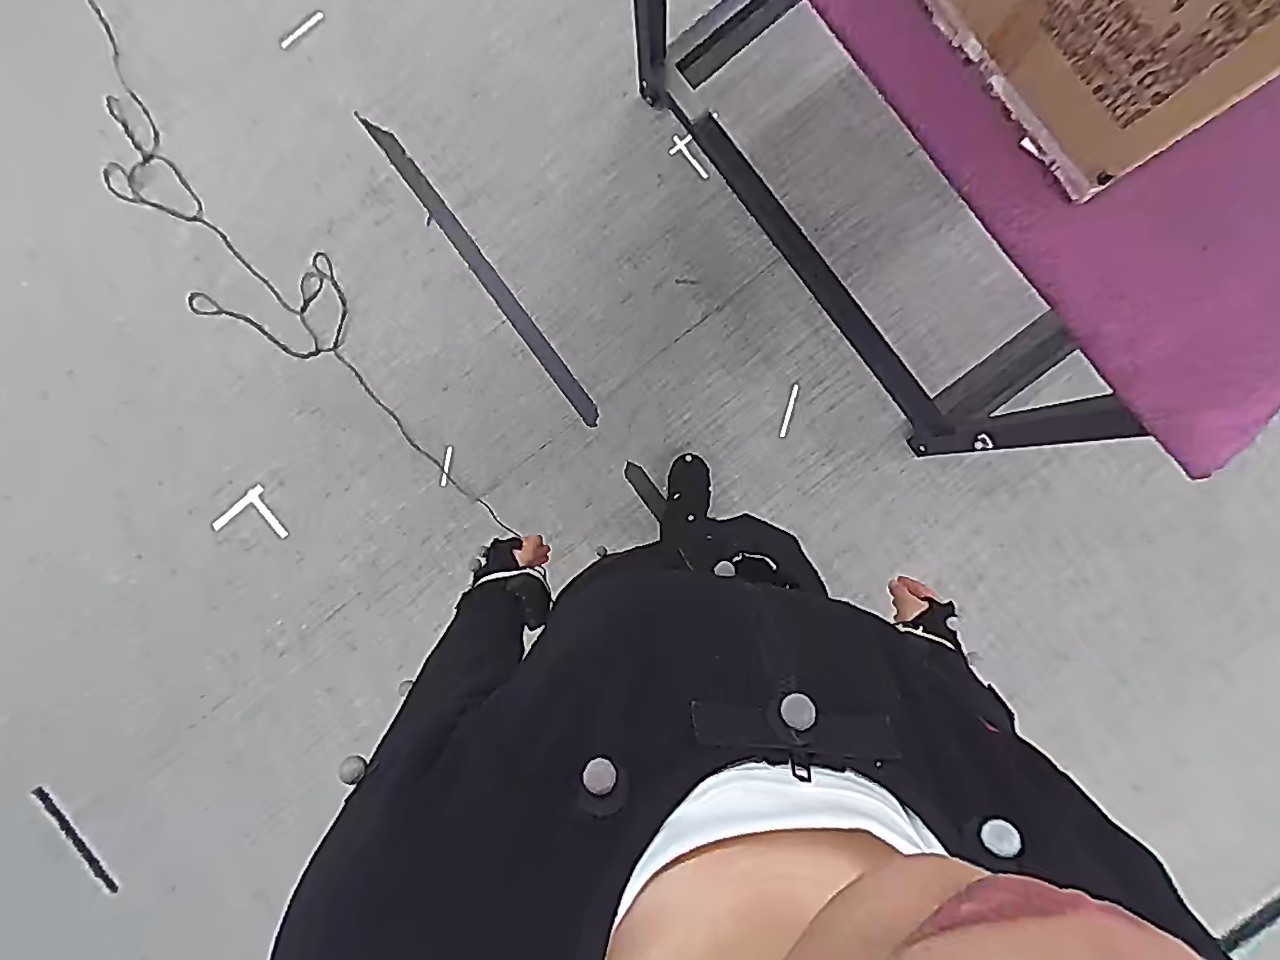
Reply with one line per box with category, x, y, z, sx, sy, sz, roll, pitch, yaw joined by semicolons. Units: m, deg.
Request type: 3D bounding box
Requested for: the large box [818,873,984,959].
large box;0.681;1.236;1.223;0.320;0.320;0.408;-39;87;2
